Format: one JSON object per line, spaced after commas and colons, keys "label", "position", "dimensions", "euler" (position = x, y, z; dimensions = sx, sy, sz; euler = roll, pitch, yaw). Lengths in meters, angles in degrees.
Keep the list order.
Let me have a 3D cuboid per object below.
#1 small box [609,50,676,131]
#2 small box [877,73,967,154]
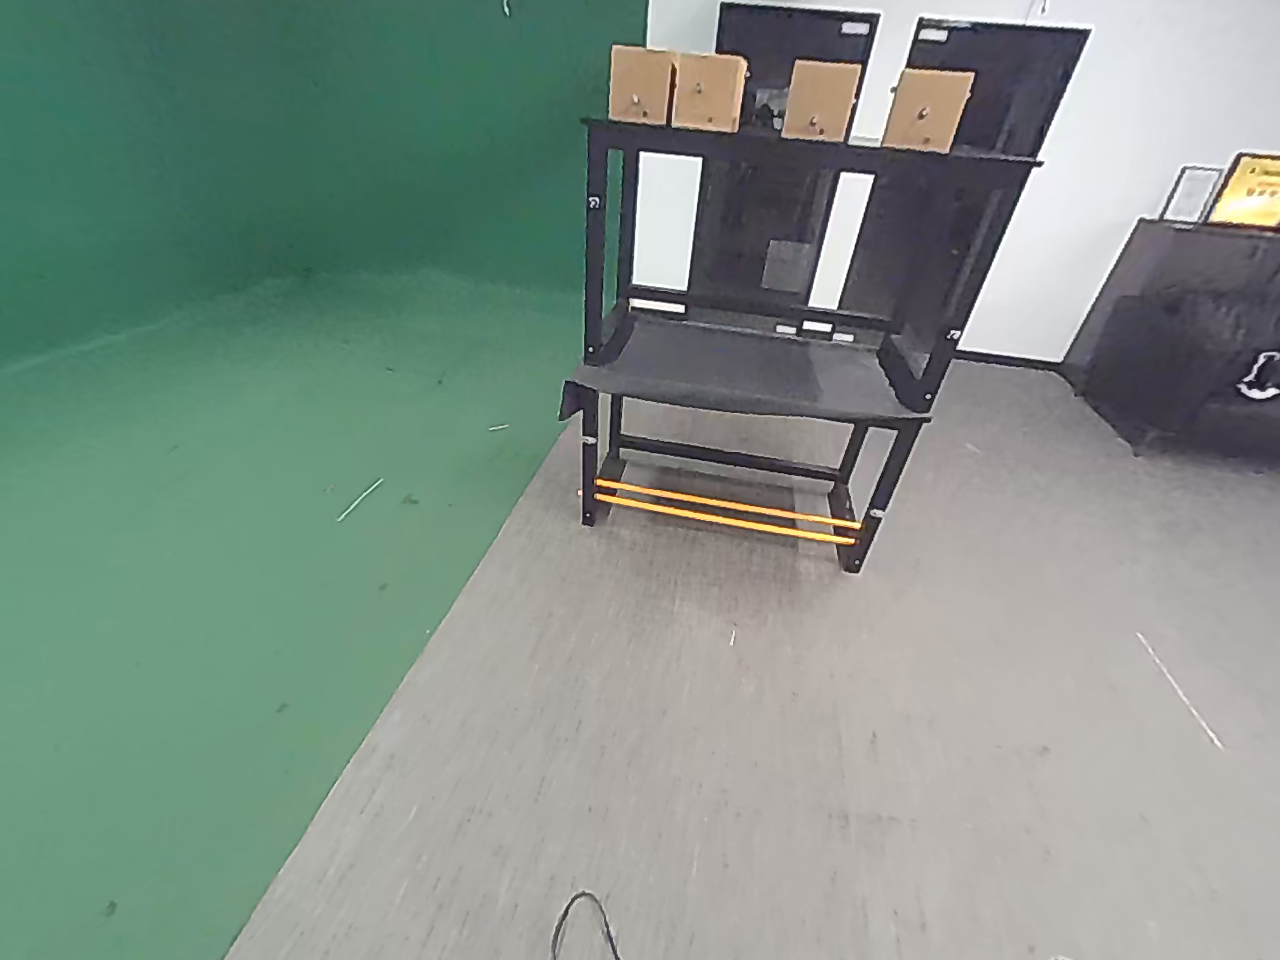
{"label": "small box", "position": [0.006, -1.120, 1.561], "dimensions": [0.168, 0.176, 0.179], "euler": [9, 36, 5]}
{"label": "small box", "position": [0.749, -0.981, 1.452], "dimensions": [0.168, 0.176, 0.179], "euler": [15, 36, 13]}
